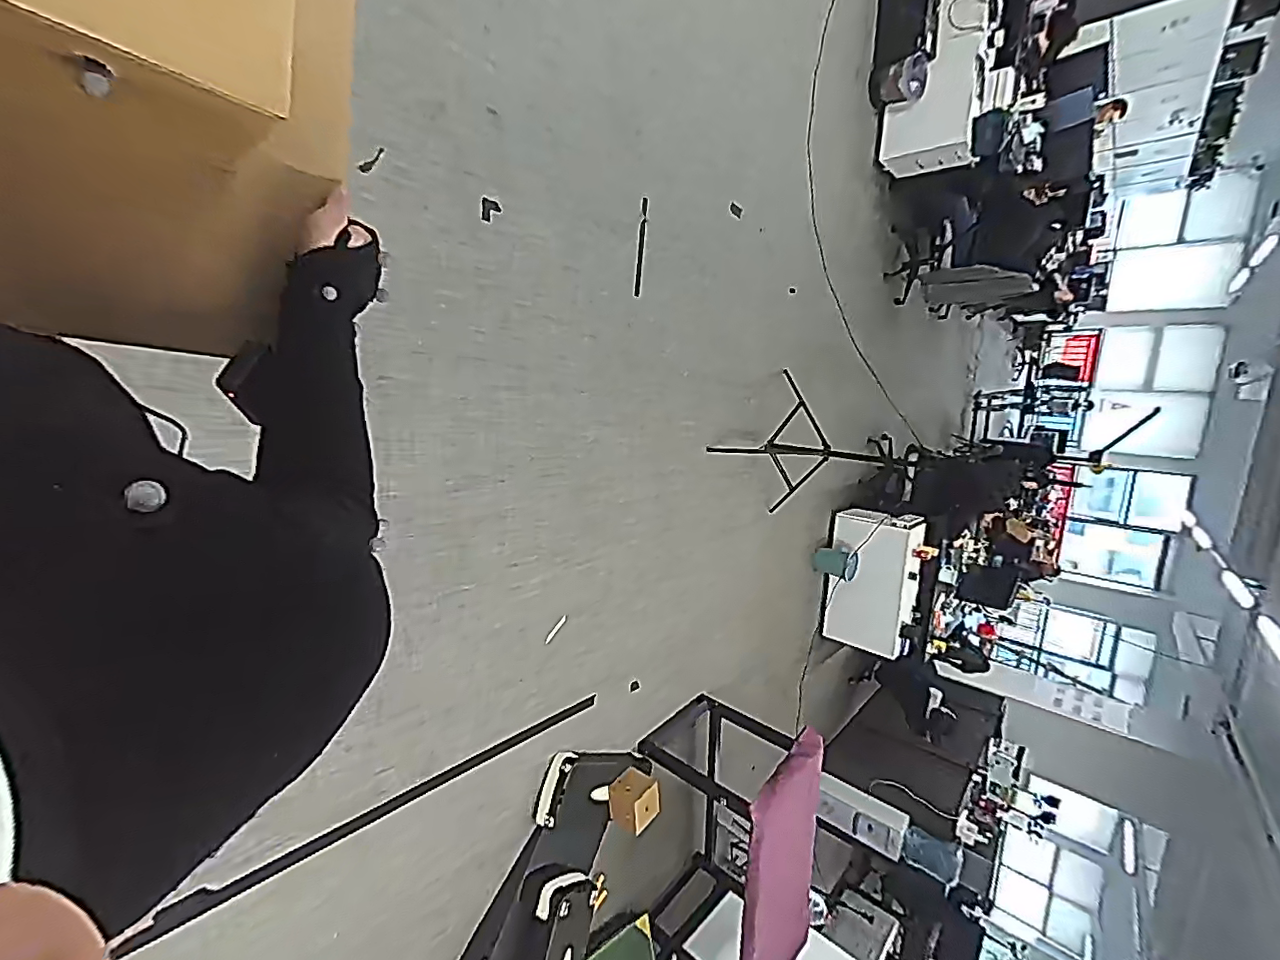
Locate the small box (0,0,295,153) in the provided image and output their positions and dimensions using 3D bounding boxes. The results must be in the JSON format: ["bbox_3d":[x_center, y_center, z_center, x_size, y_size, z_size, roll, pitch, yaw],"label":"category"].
[{"bbox_3d":[-0.358,-0.352,0.369,0.179,0.176,0.168,0,101,-46],"label":"small box"}]
